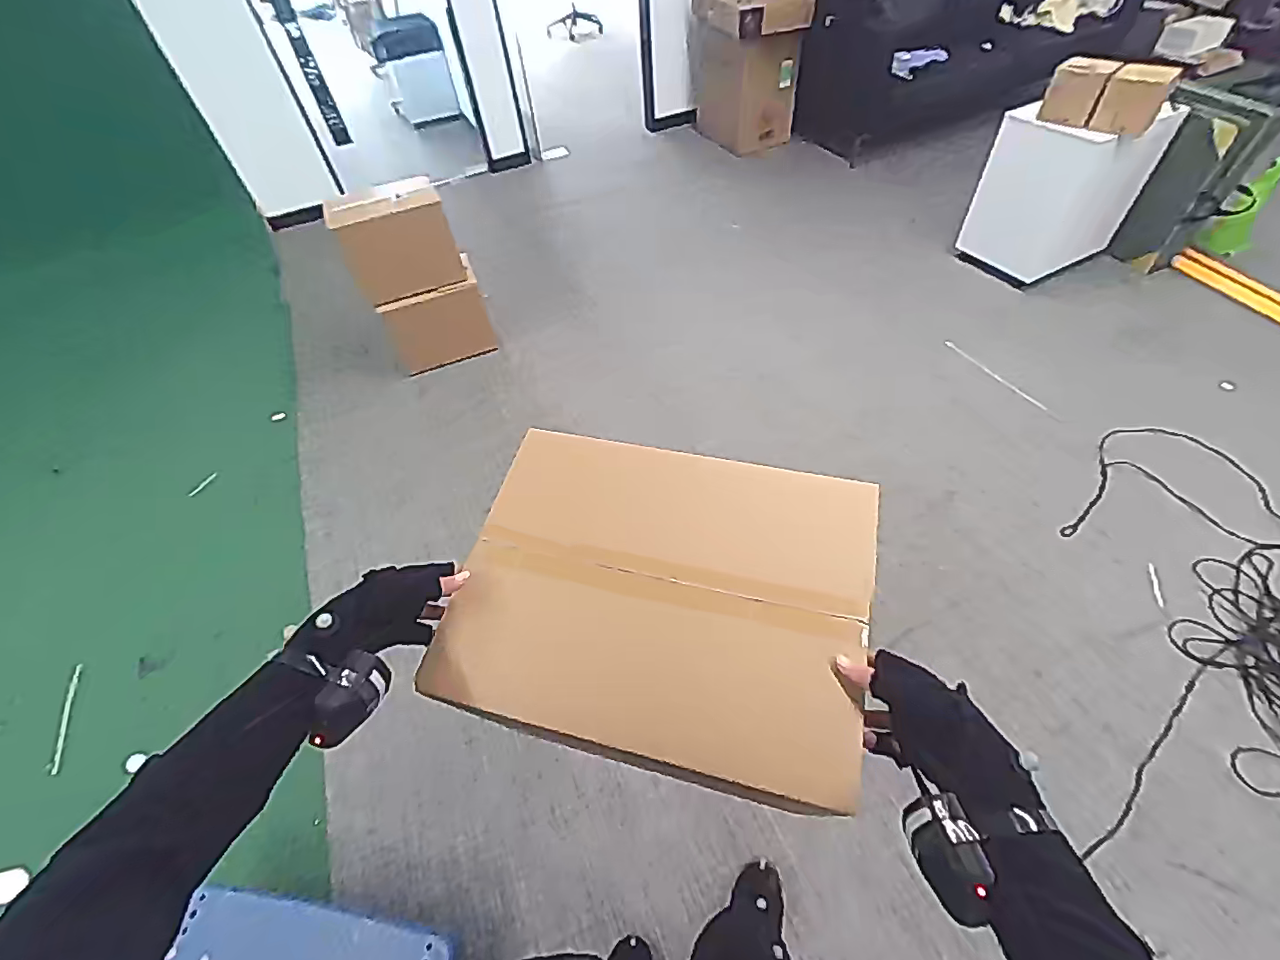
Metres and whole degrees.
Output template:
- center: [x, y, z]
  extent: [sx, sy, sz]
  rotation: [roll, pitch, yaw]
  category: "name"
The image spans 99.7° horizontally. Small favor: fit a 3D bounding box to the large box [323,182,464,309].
- center: [-0.957, -0.921, 2.119]
  extent: [0.408, 0.320, 0.320]
  rotation: [-21, 49, -13]
  category: "large box"
